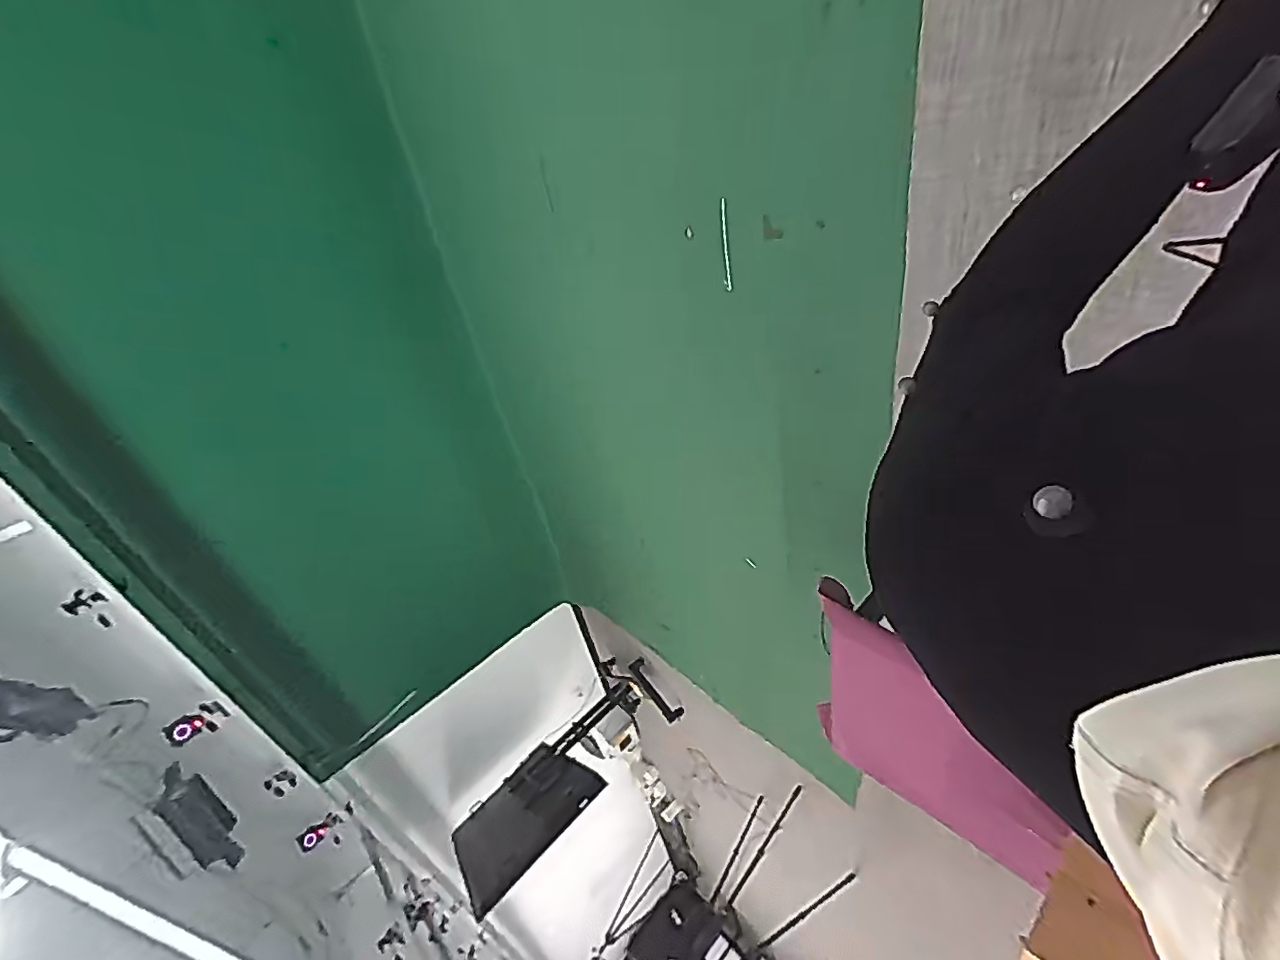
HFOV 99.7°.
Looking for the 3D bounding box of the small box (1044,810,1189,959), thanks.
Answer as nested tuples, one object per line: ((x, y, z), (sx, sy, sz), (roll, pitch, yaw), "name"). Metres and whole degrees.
((0.934, 0.806, 1.064), (0.168, 0.176, 0.179), (22, 136, 44), "small box")
